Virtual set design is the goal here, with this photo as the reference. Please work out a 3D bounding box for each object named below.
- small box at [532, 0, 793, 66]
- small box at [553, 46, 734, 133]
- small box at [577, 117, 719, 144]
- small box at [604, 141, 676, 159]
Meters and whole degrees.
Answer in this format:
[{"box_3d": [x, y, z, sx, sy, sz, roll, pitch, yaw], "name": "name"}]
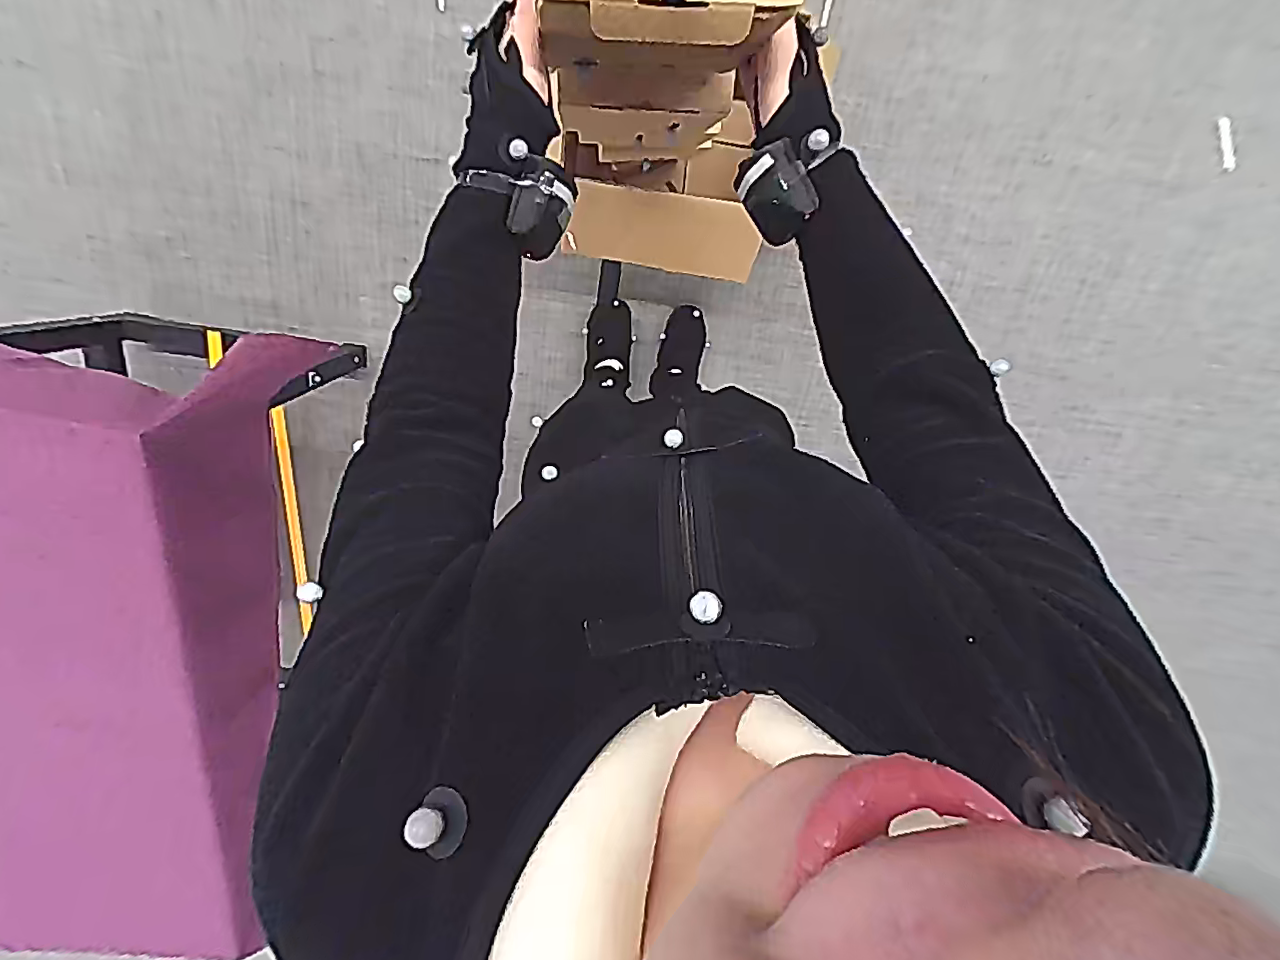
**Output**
[{"box_3d": [0.009, -0.402, 0.362, 0.168, 0.176, 0.179, -3, 116, -7], "name": "small box"}, {"box_3d": [0.000, -0.458, 0.536, 0.168, 0.176, 0.179, 0, 116, -6], "name": "small box"}, {"box_3d": [0.005, -0.530, 0.683, 0.179, 0.176, 0.168, -1, 117, -5], "name": "small box"}, {"box_3d": [0.009, -0.693, 0.971, 0.179, 0.176, 0.168, -14, 116, 0], "name": "small box"}]
